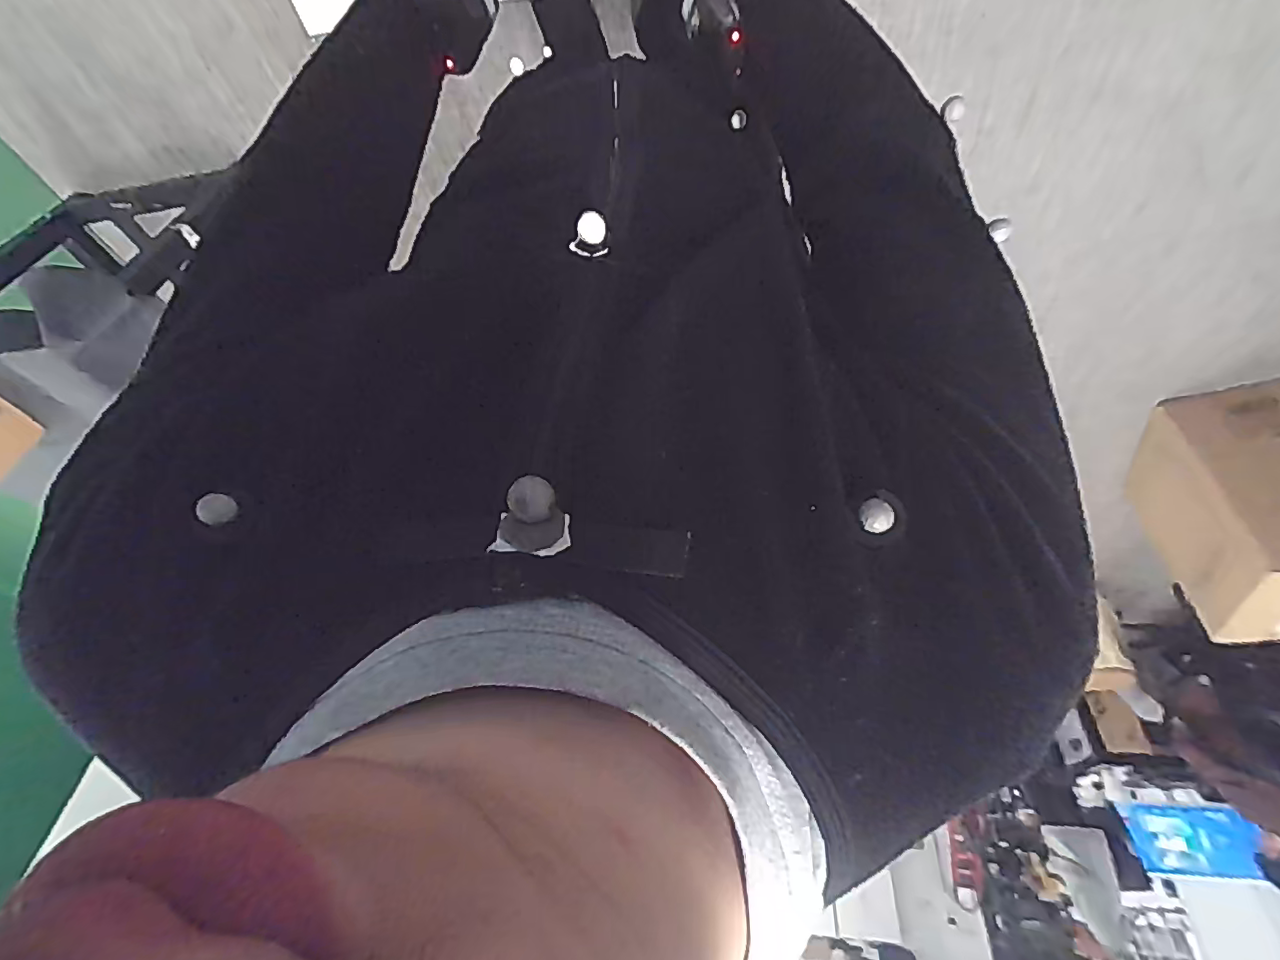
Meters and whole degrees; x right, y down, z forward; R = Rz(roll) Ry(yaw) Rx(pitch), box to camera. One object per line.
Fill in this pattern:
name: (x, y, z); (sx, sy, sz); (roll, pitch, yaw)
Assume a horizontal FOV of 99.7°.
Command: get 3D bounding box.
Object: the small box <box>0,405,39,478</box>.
small box: (-1.289, -0.082, 0.976); (0.168, 0.176, 0.179); (-1, 144, 6)
